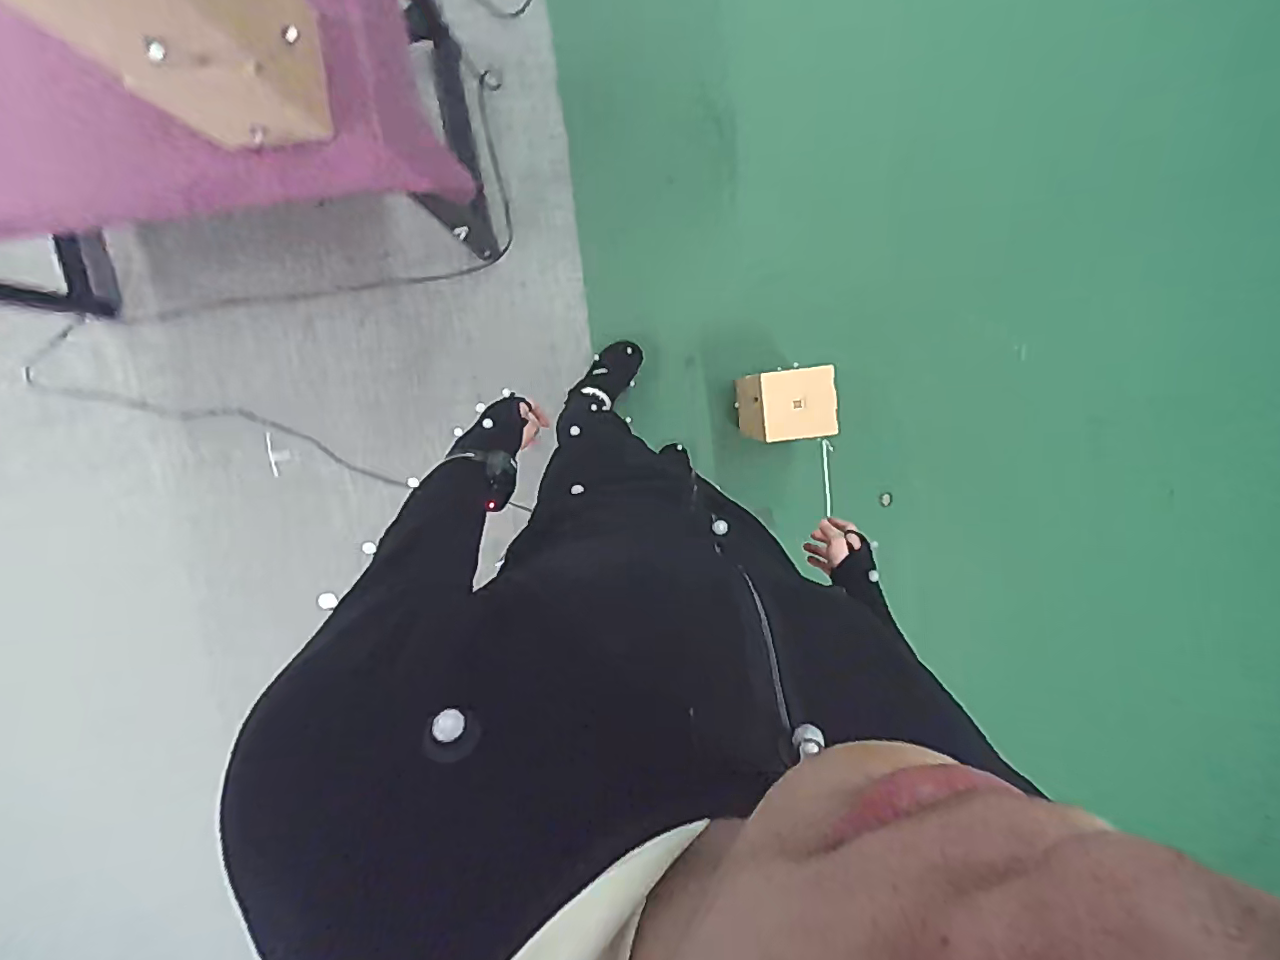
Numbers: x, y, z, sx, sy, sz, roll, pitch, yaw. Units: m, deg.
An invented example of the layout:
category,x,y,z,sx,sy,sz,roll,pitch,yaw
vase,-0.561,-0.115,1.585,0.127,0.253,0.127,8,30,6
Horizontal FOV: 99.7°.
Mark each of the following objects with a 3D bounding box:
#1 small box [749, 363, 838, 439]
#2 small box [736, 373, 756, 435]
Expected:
category,x,y,z,sx,sy,sz,roll,pitch,yaw
small box,0.375,-0.193,1.347,0.179,0.176,0.168,-7,98,0
small box,0.374,-0.219,1.506,0.179,0.176,0.168,-6,98,1
